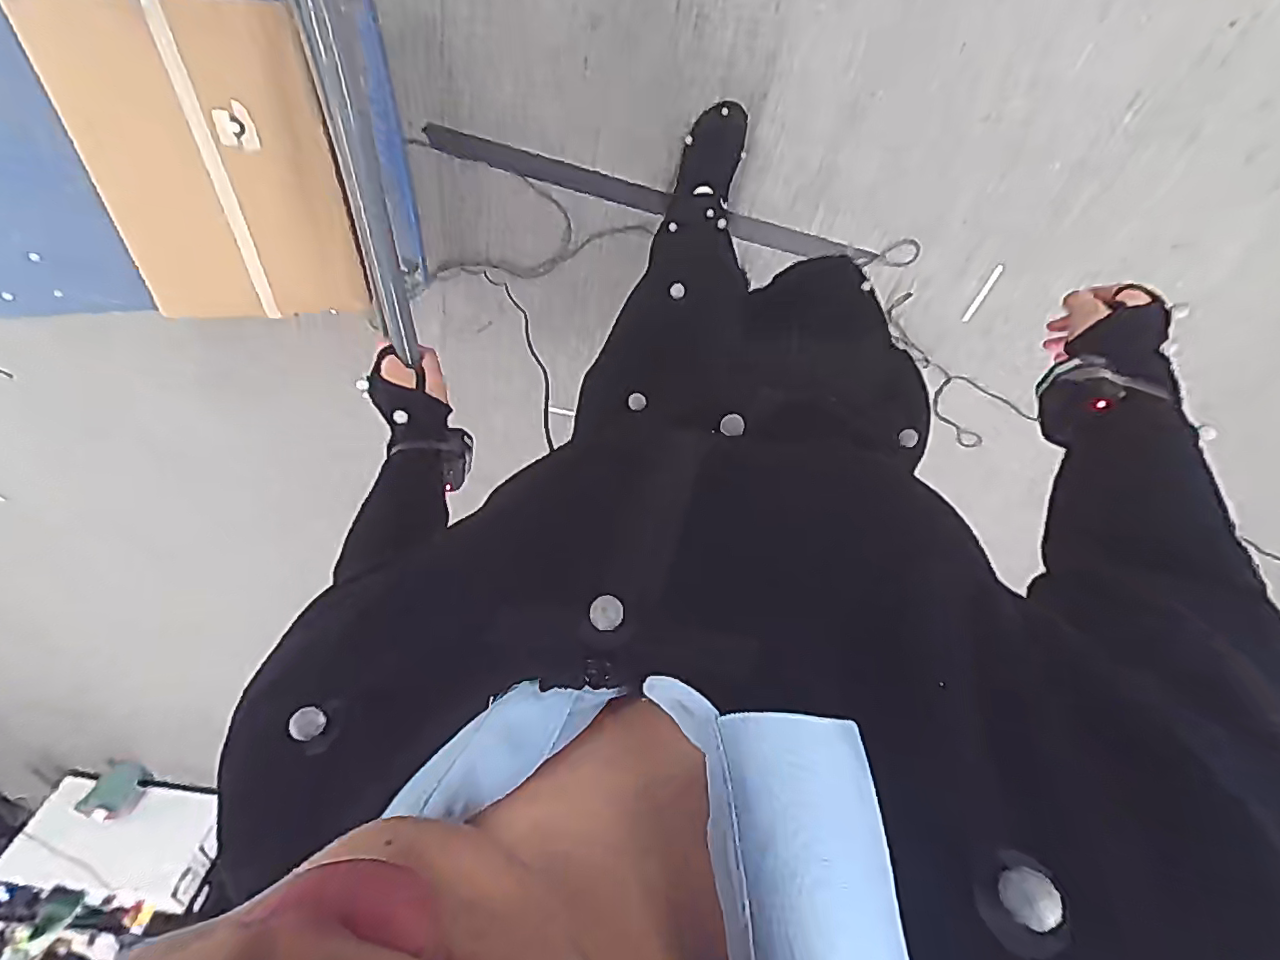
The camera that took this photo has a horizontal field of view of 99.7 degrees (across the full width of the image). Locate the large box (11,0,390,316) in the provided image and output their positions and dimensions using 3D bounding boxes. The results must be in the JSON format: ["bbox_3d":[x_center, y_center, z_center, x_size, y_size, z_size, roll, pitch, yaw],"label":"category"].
[{"bbox_3d":[-0.637,-0.531,0.898,0.320,0.320,0.408,-9,130,-14],"label":"large box"}]
